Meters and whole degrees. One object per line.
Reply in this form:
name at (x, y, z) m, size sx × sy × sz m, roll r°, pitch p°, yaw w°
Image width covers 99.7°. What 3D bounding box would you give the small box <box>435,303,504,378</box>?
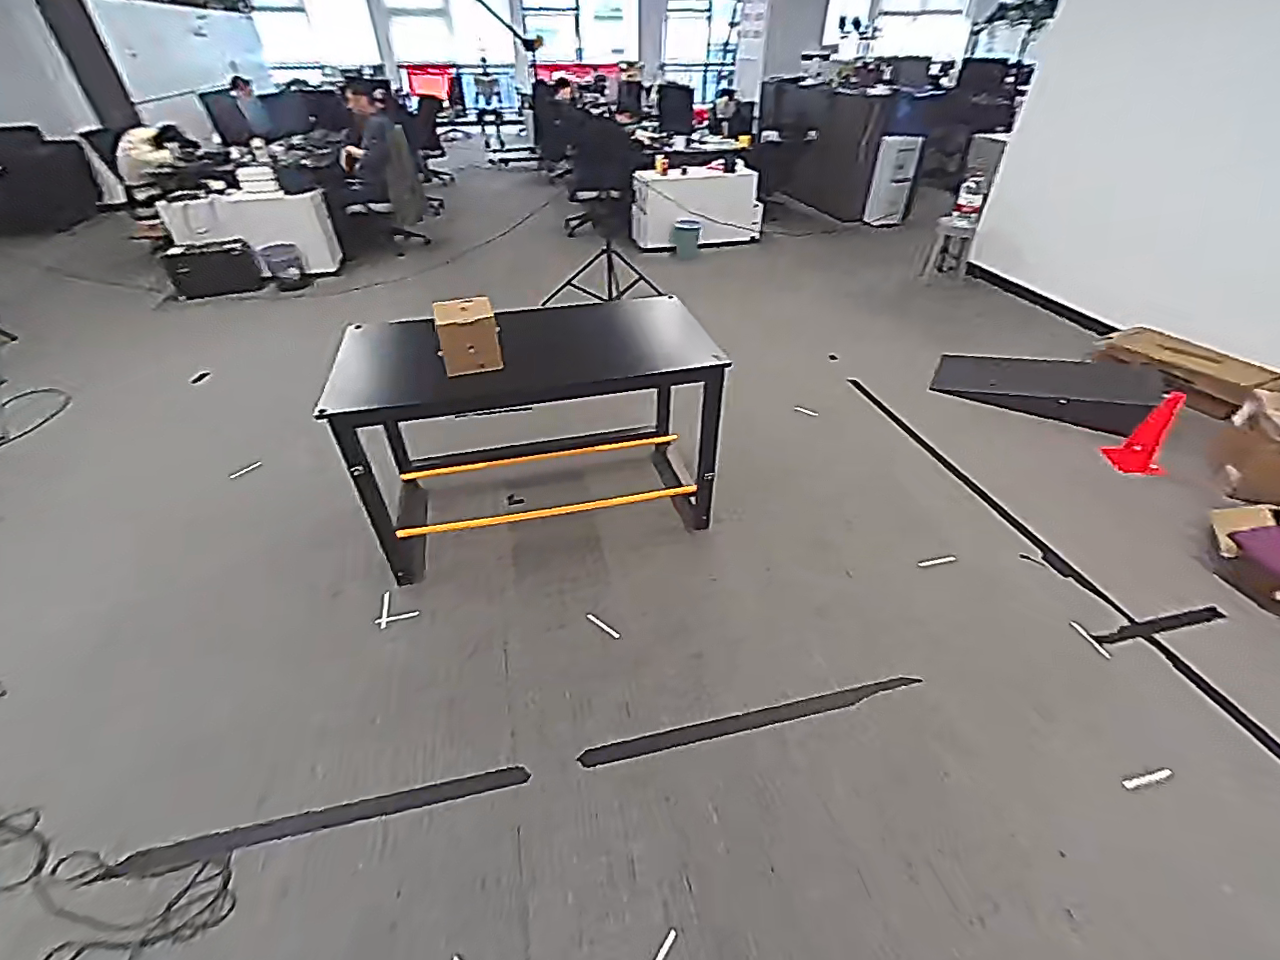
small box at (-0.525, -0.426, 1.671) m, size 0.168 × 0.176 × 0.179 m, roll -13°, pitch 41°, yaw -14°
